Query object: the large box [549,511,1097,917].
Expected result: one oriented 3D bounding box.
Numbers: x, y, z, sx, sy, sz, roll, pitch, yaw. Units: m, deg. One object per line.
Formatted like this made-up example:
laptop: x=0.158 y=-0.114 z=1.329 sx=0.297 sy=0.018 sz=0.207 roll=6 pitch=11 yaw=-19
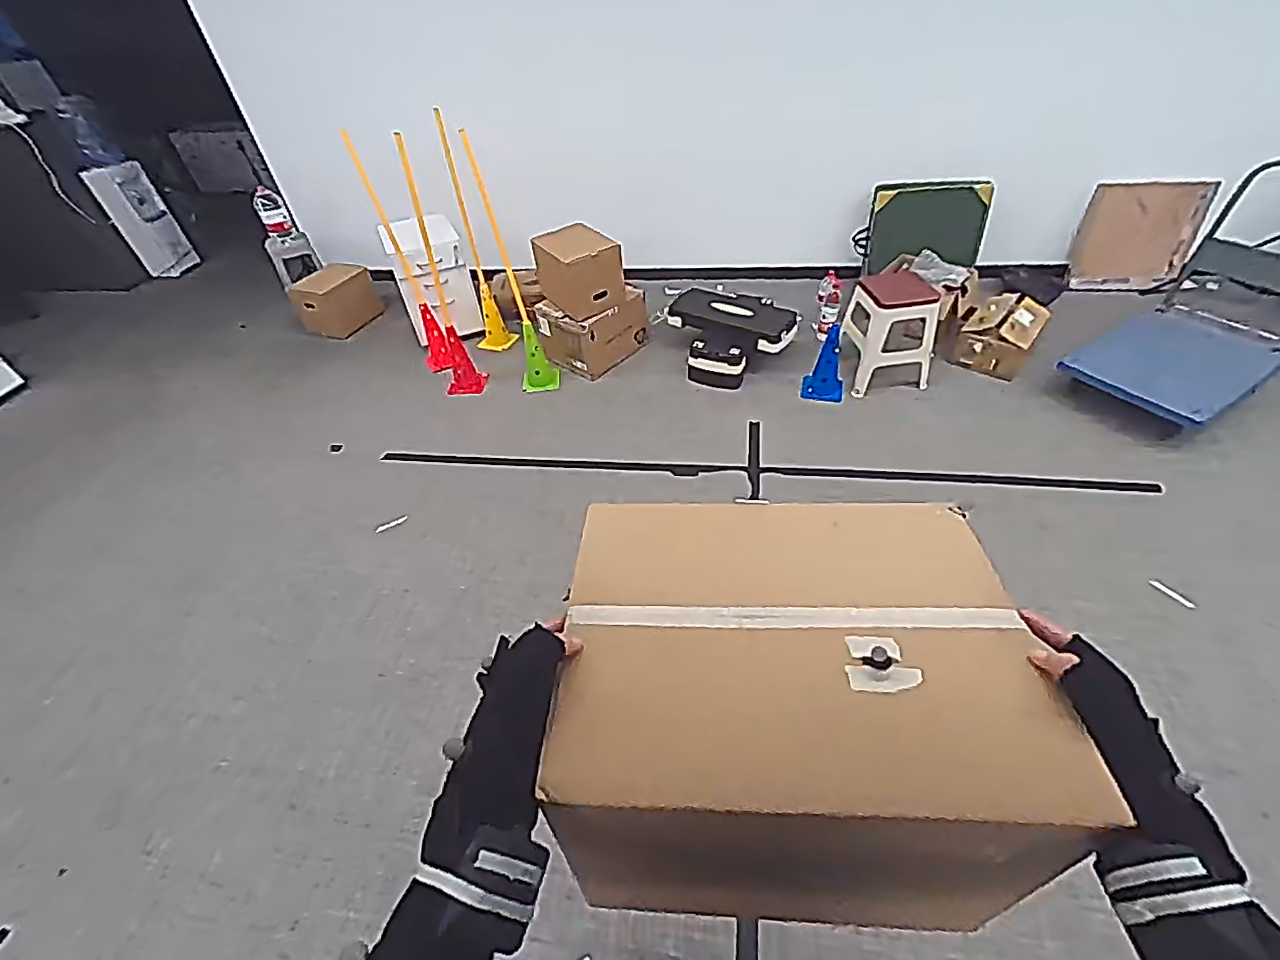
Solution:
large box: x=0.140 y=0.249 z=0.600 sx=0.408 sy=0.320 sz=0.320 roll=0 pitch=41 yaw=5
